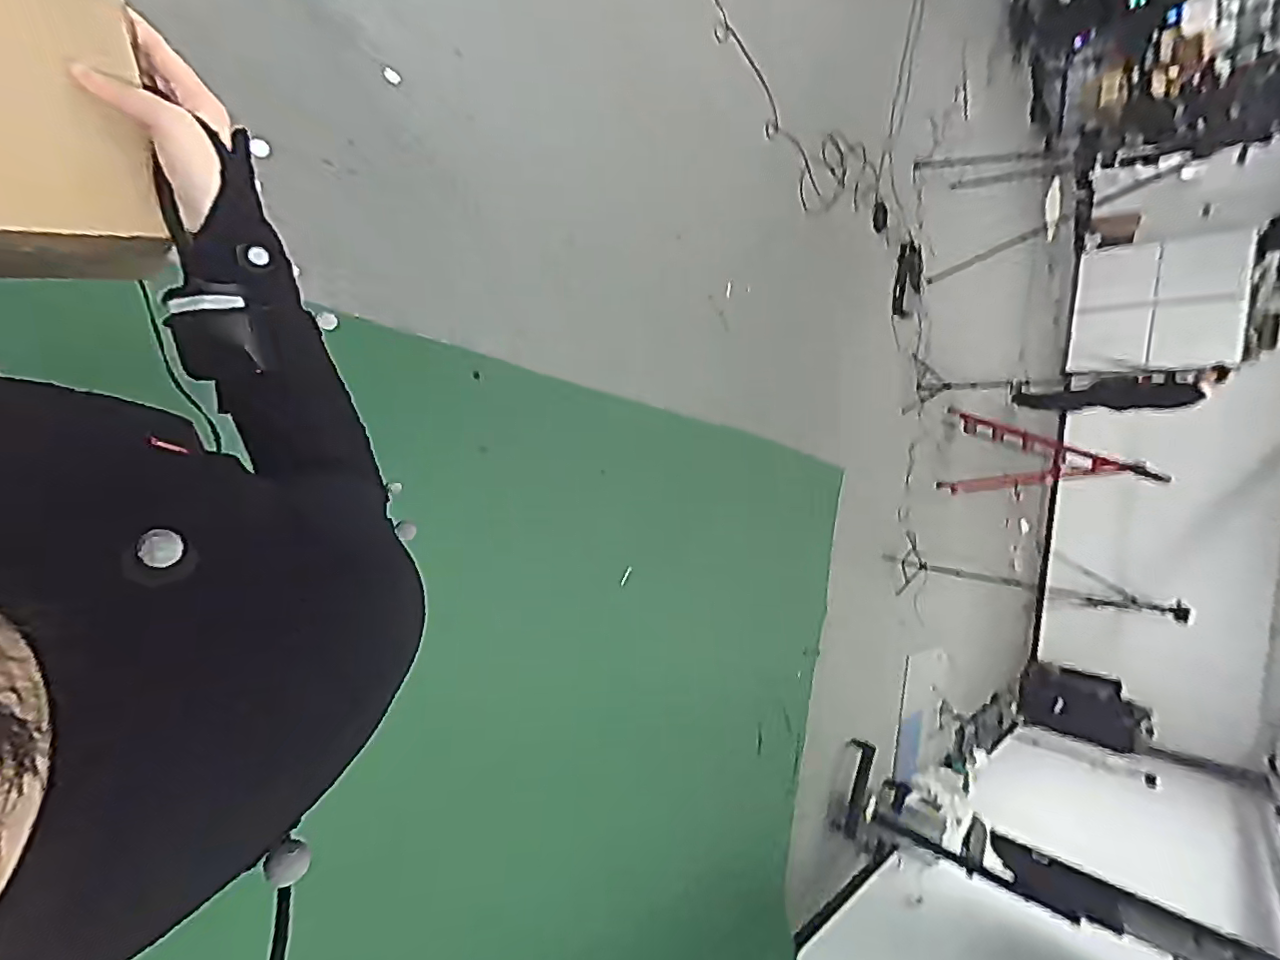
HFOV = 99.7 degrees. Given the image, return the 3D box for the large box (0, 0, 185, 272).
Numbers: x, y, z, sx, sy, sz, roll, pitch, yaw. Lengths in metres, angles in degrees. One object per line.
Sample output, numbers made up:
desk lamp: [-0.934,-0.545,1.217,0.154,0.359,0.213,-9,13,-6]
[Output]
large box: [-0.589,-0.308,0.330,0.408,0.320,0.320,-18,113,-42]
